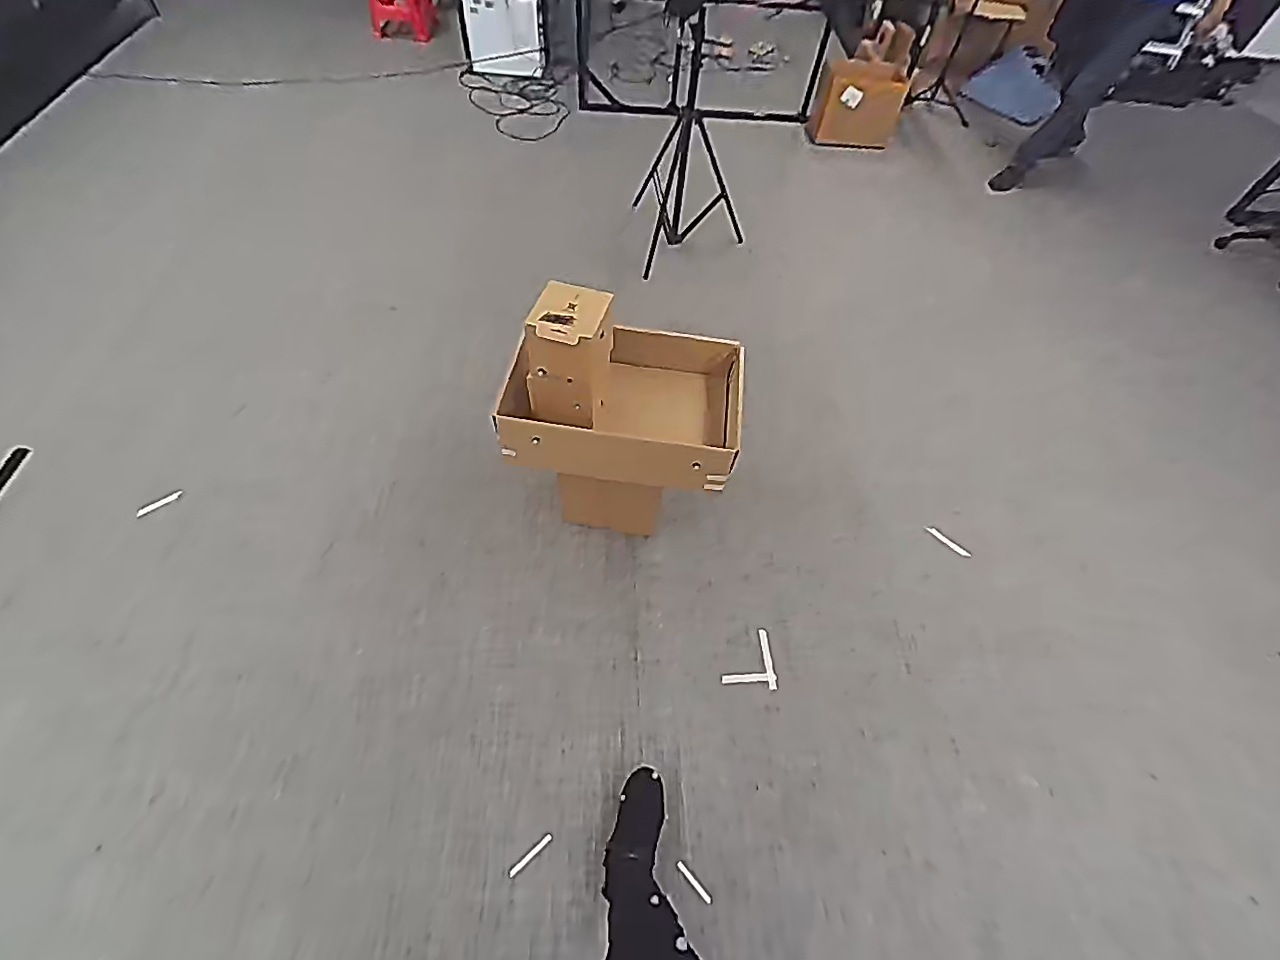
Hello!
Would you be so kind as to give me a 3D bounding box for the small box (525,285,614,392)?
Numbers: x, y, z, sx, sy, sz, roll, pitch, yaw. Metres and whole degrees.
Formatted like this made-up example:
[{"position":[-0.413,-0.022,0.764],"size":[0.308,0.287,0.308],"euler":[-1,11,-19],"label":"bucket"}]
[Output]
[{"position":[-0.166,-0.345,1.335],"size":[0.168,0.176,0.179],"euler":[14,55,6],"label":"small box"}]
